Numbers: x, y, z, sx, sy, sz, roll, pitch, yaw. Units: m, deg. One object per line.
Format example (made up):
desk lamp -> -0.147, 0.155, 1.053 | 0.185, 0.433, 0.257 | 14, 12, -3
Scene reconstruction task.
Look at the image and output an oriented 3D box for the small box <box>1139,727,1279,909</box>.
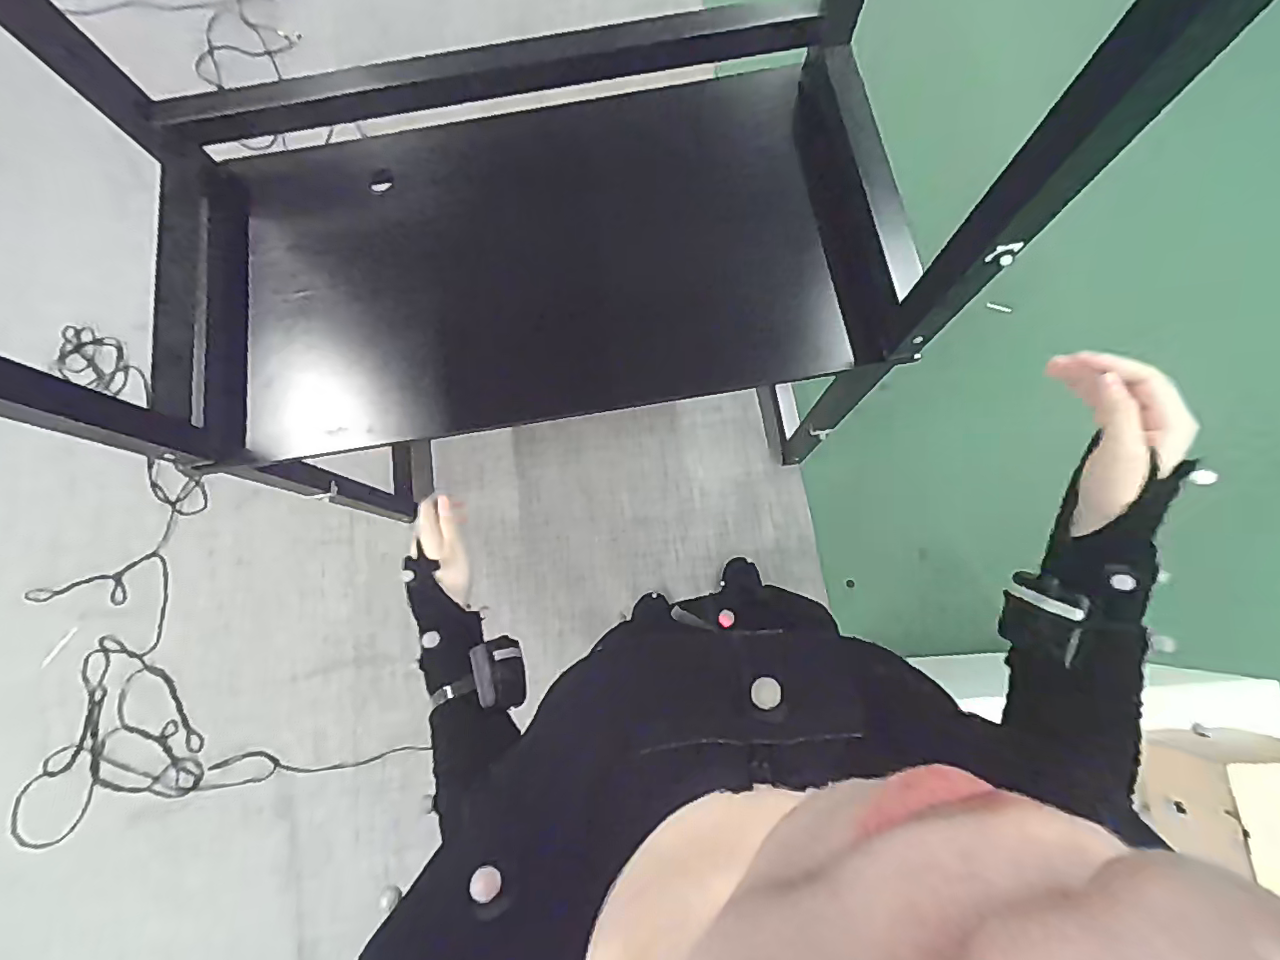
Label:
small box -> 0.837, 0.445, 0.736 | 0.179, 0.176, 0.168 | -4, 78, 3
